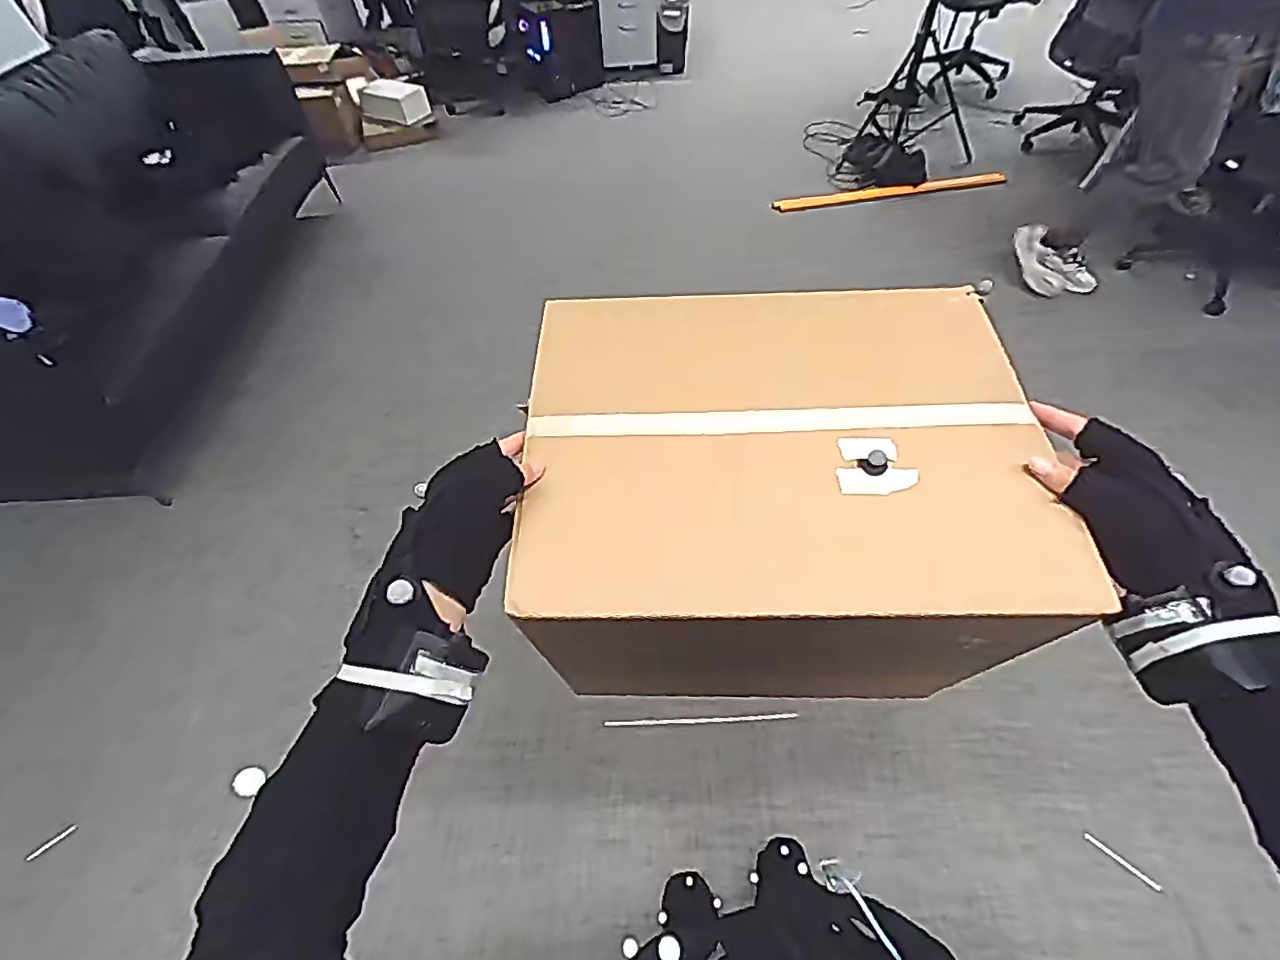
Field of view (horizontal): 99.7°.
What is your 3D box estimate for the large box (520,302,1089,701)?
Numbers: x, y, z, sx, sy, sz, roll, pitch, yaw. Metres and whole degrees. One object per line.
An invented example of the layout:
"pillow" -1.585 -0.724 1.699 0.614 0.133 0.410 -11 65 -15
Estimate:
"large box" 0.115 0.043 0.579 0.408 0.320 0.320 -2 59 3
